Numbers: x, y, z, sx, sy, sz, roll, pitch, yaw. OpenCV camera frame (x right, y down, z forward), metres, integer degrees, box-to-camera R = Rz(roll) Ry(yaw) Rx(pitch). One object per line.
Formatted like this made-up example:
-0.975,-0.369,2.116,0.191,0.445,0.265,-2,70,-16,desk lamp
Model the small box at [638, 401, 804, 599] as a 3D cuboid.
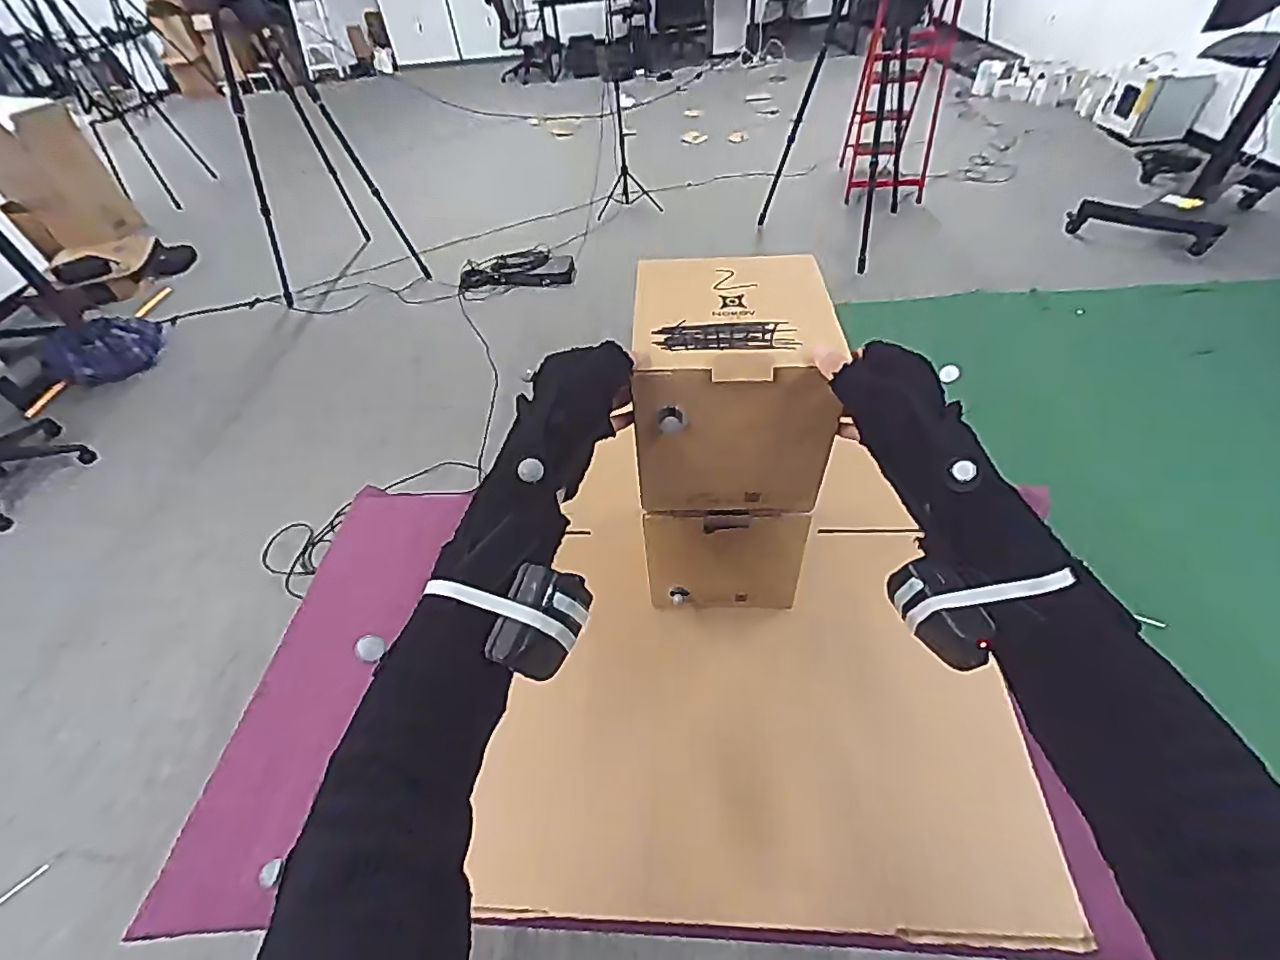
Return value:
0.090,0.027,0.641,0.168,0.176,0.179,-1,45,5,small box
